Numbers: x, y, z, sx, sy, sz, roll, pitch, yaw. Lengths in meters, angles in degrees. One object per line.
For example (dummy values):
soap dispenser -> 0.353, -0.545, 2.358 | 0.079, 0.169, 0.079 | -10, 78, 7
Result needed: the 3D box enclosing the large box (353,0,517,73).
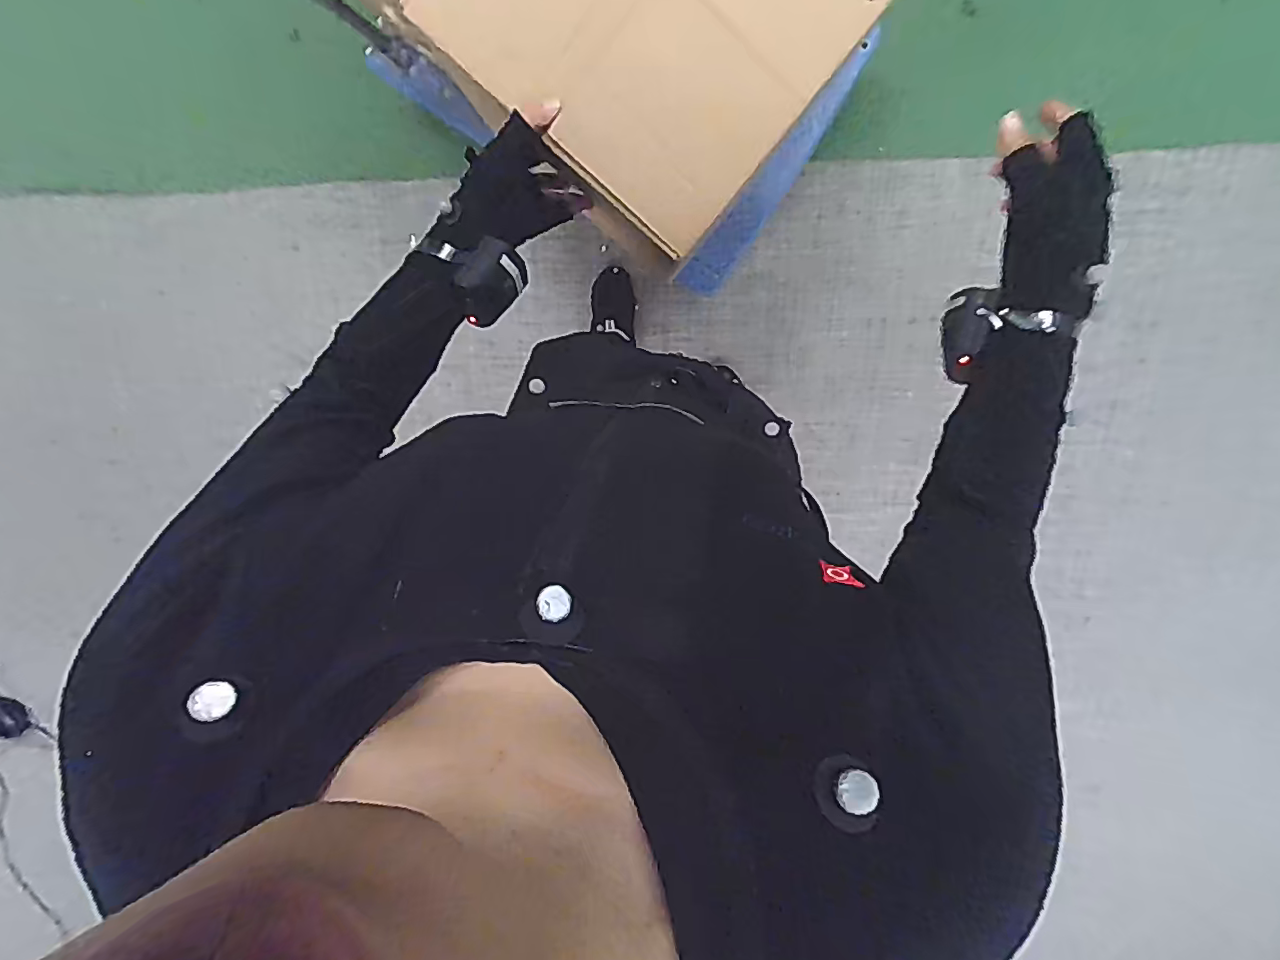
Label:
large box -> -0.281, -0.795, 0.600 | 0.320, 0.320, 0.408 | 32, 106, 1
